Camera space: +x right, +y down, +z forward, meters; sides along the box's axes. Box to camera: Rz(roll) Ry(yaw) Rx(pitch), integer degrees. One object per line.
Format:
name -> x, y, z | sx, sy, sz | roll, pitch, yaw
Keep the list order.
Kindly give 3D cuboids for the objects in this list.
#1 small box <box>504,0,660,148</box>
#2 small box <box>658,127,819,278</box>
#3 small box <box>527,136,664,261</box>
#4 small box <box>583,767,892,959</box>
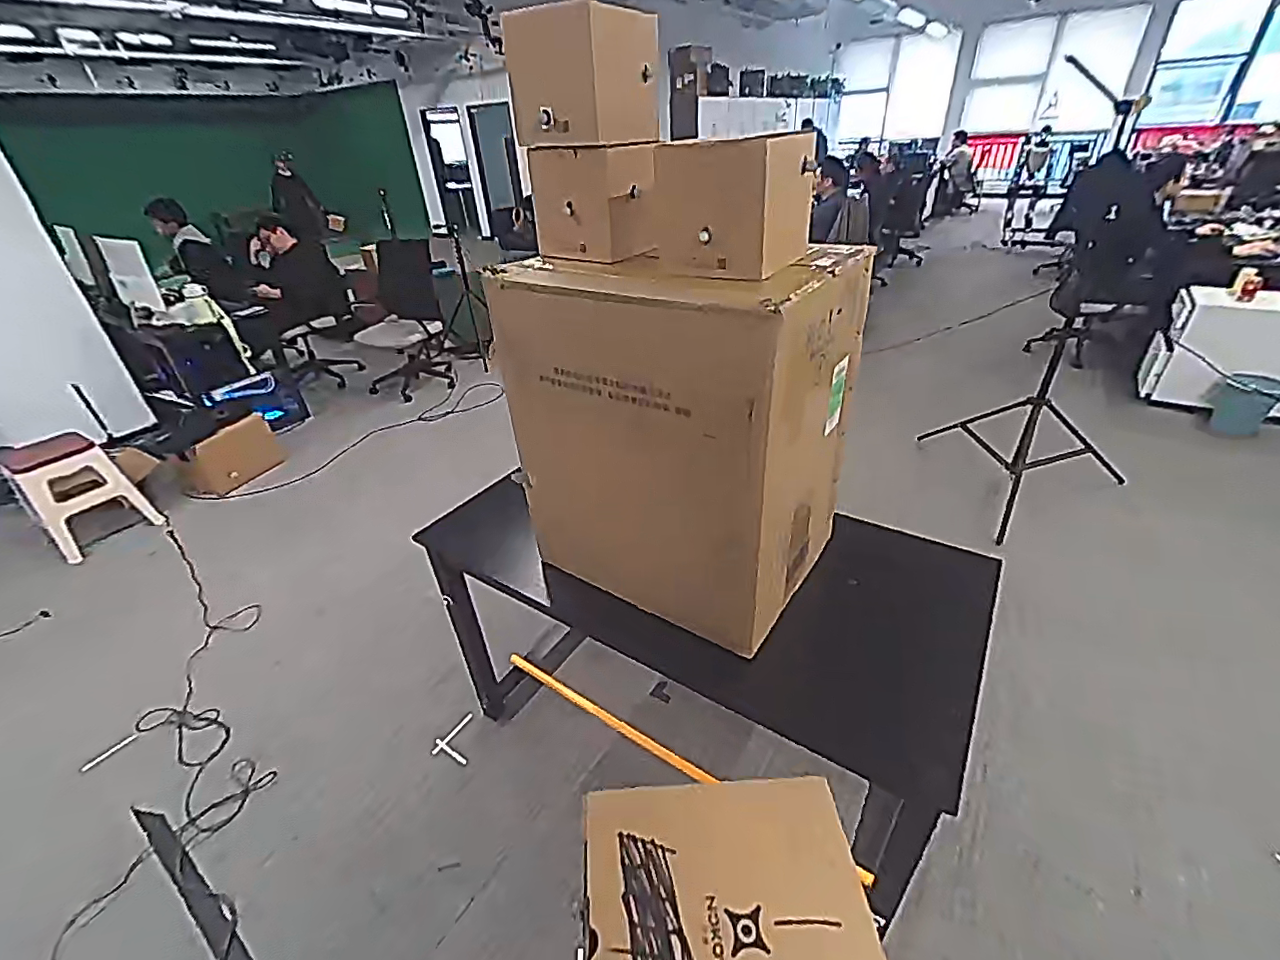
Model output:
small box -> -0.082, -0.618, 0.838 | 0.168, 0.176, 0.179 | 17, 38, 28
small box -> 0.141, -0.400, 0.777 | 0.168, 0.176, 0.179 | 16, 38, 31
small box -> -0.066, -0.487, 0.936 | 0.168, 0.176, 0.179 | 18, 39, 28
small box -> 0.051, 0.320, 0.366 | 0.179, 0.176, 0.168 | 0, 38, -5
